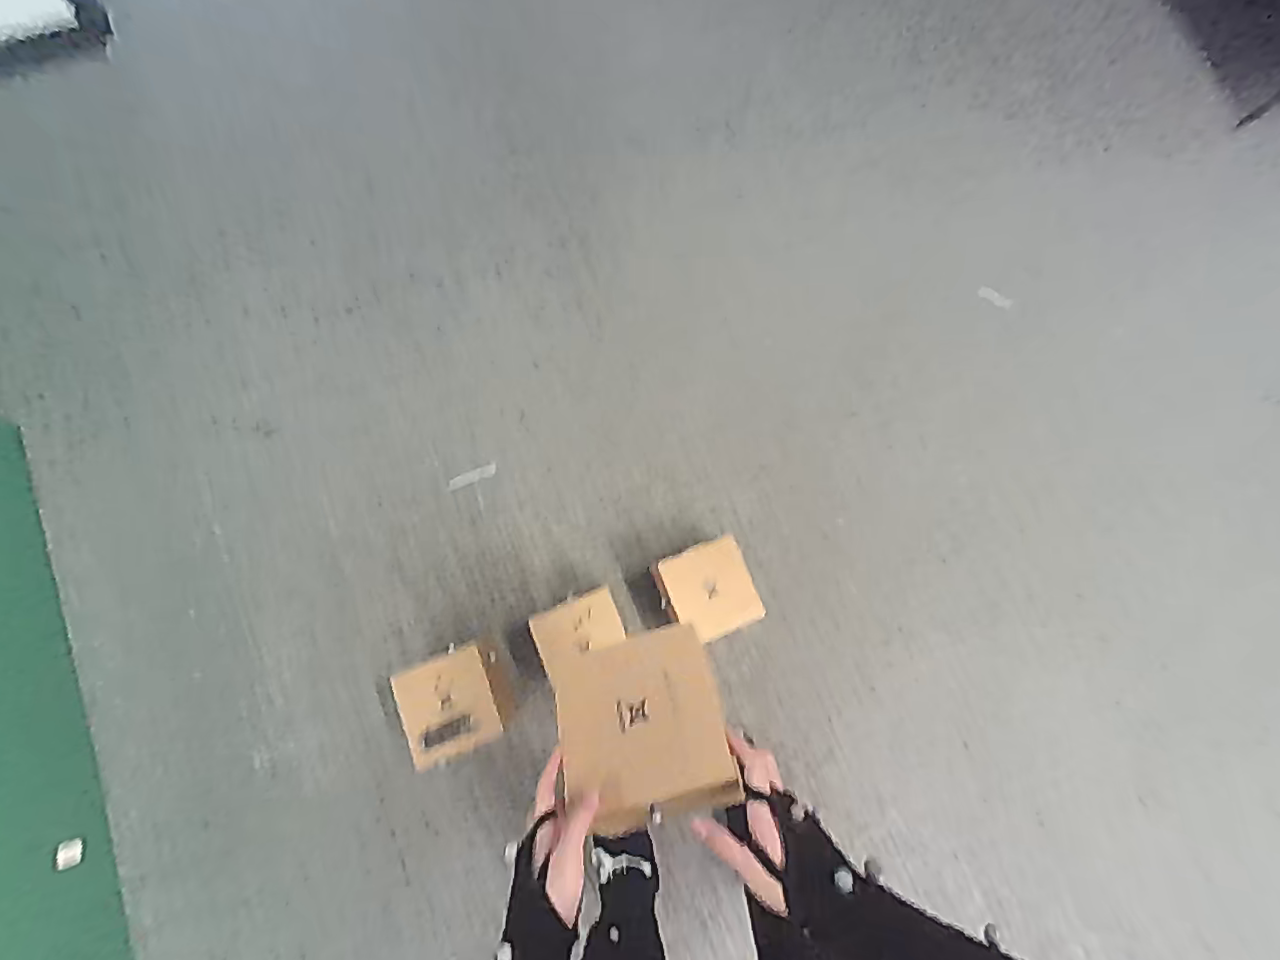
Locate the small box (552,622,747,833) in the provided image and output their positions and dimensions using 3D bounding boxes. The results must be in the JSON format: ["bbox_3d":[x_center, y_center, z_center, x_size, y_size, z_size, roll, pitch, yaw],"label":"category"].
[{"bbox_3d":[0.014,0.293,0.628,0.179,0.176,0.168,-17,51,3],"label":"small box"}]

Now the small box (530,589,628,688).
[{"bbox_3d":[-0.109,0.334,1.106,0.168,0.176,0.179,-21,80,-9],"label":"small box"}]

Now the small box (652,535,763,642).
[{"bbox_3d":[0.135,0.233,1.147,0.168,0.176,0.179,-22,80,-8],"label":"small box"}]
